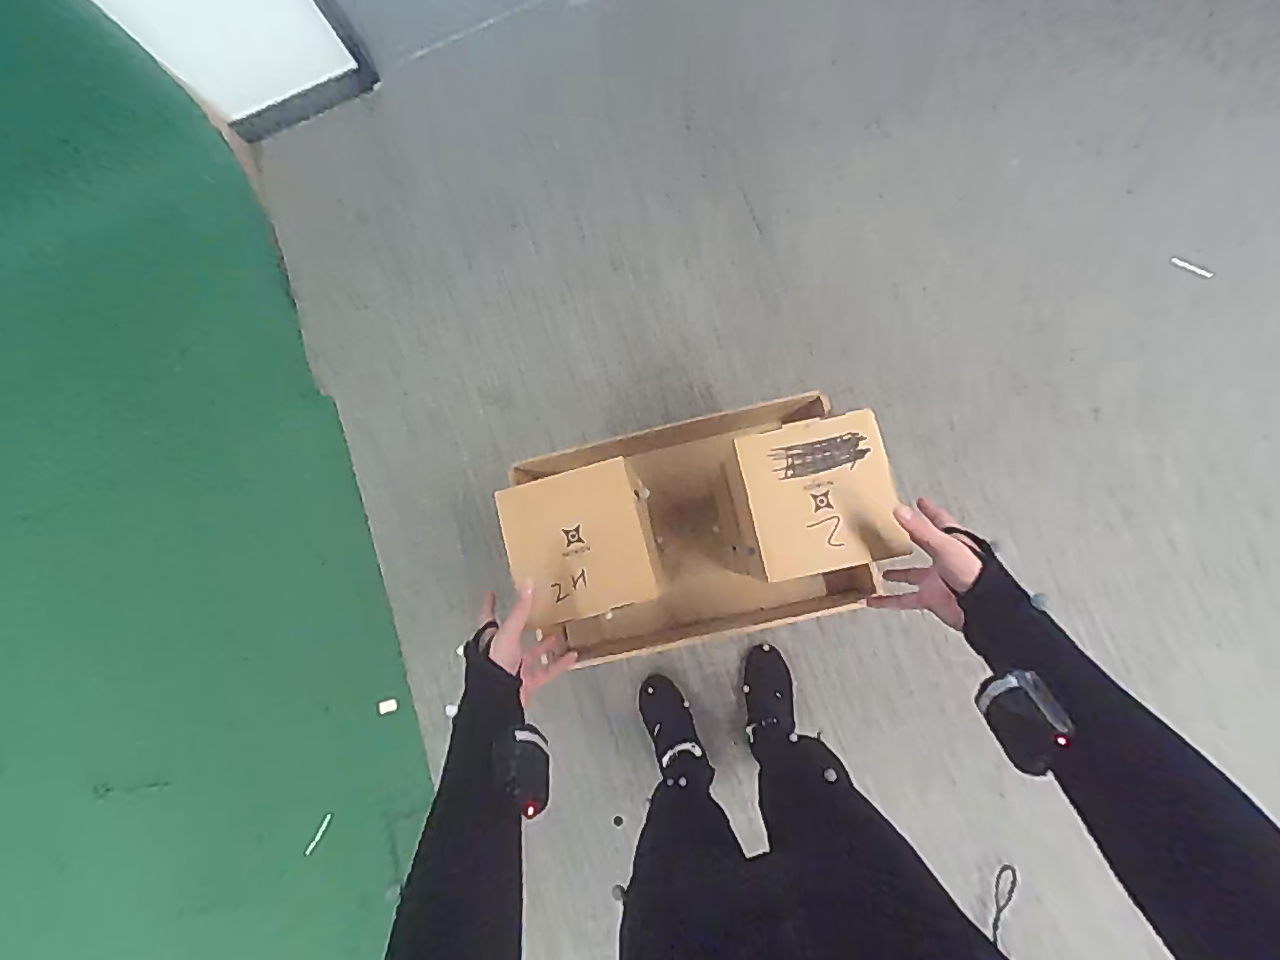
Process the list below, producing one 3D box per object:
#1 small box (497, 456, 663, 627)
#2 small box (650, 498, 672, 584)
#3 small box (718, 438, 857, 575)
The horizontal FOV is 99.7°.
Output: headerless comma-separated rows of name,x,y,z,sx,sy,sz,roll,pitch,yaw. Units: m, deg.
small box,-0.071,0.085,0.725,0.168,0.176,0.179,-15,80,4
small box,-0.039,0.137,1.048,0.179,0.176,0.168,-10,81,5
small box,0.222,0.049,0.860,0.168,0.176,0.179,-12,79,4
